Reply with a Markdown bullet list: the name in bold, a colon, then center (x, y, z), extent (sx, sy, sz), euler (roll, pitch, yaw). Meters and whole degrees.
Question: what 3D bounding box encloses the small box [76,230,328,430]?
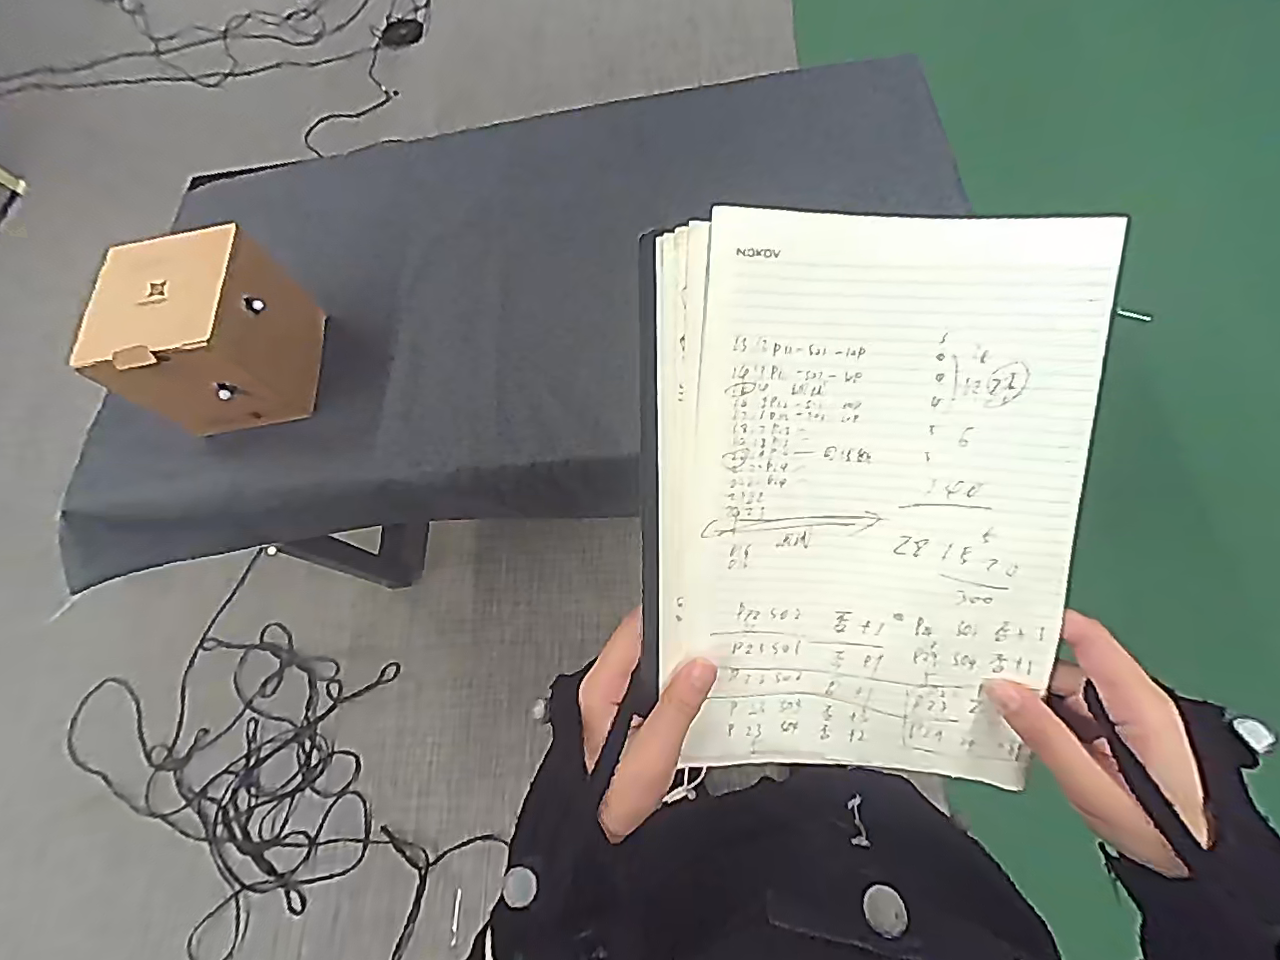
- **small box**: center (-0.530, -0.176, 0.686), extent (0.168, 0.176, 0.179), euler (-9, 65, 4)
